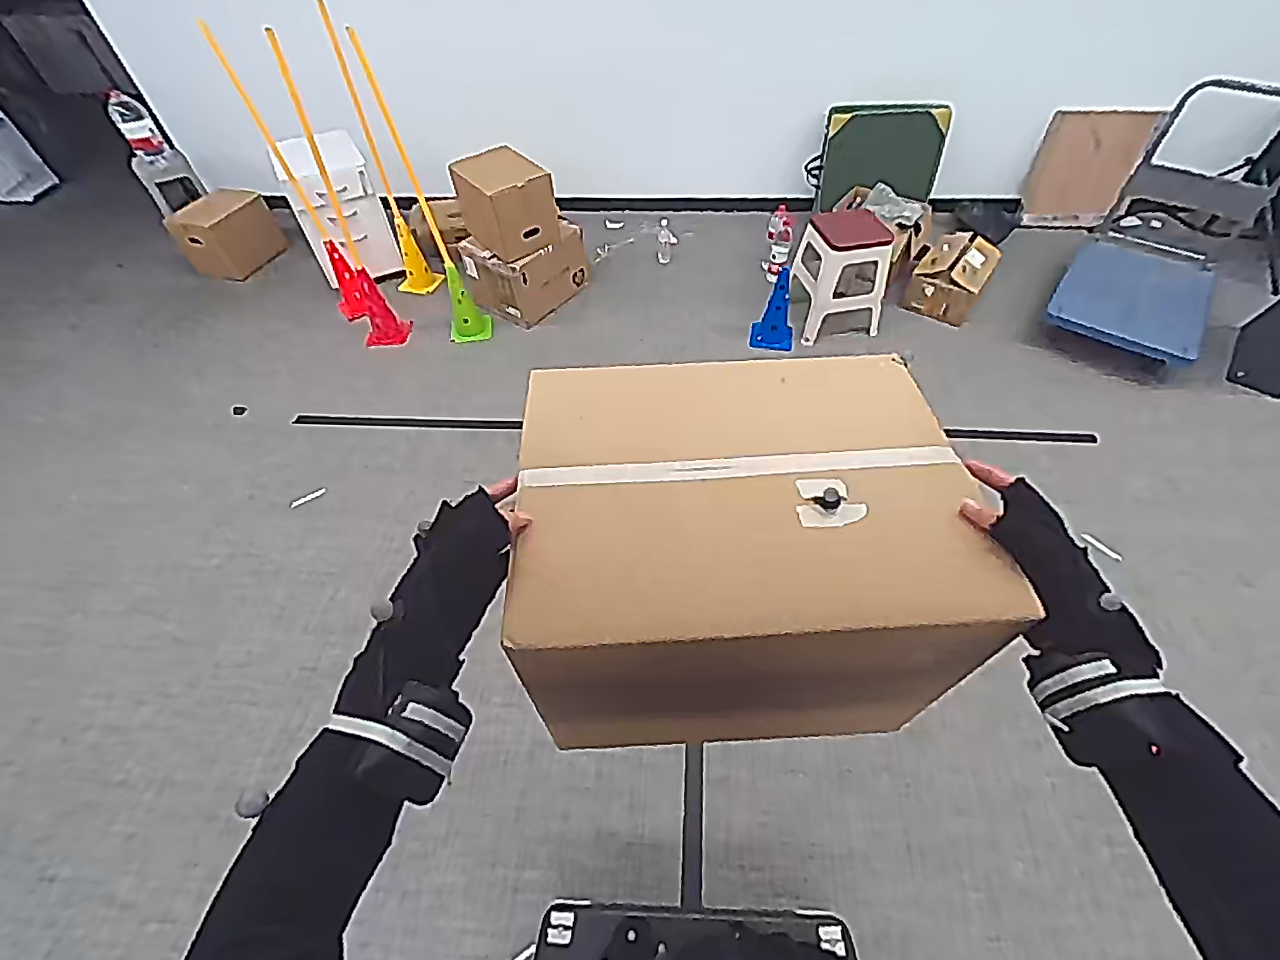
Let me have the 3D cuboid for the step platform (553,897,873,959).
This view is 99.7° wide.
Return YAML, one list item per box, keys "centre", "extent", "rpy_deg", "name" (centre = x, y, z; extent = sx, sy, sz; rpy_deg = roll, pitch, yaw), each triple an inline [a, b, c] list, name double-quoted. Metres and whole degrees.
- centre: [0.151, 1.073, 1.143]
  extent: [0.684, 0.204, 0.286]
  rpy_deg: [1, 52, 1]
  name: "step platform"

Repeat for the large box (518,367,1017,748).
- centre: [0.092, 0.094, 0.625]
  extent: [0.408, 0.320, 0.320]
  rpy_deg: [-3, 51, -2]
  name: "large box"
